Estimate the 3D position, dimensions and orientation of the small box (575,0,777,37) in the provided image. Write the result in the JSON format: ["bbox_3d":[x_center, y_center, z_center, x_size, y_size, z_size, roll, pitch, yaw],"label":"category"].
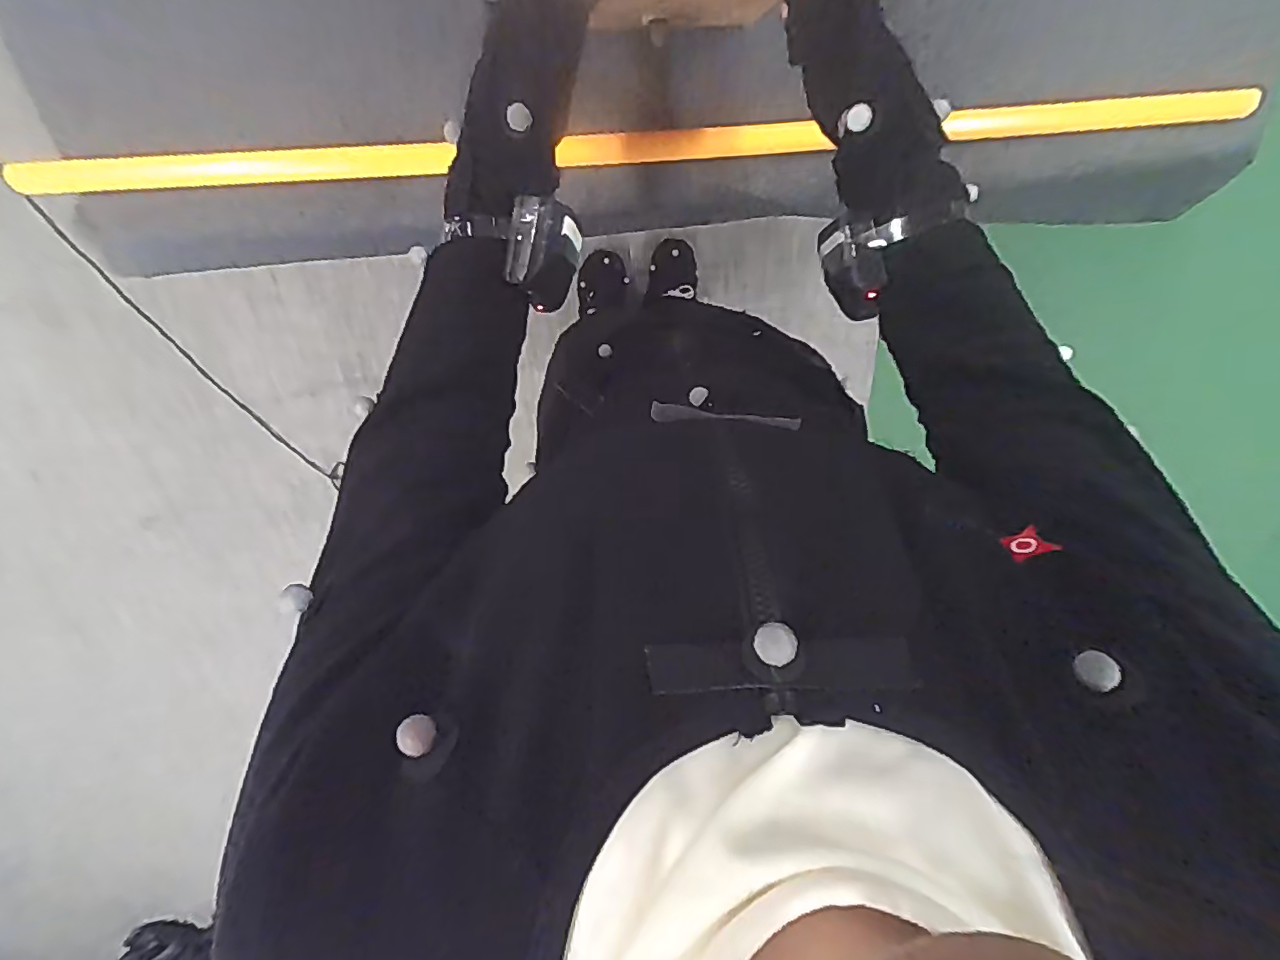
[{"bbox_3d":[0.027,-0.452,0.390,0.168,0.176,0.179,-6,120,-3],"label":"small box"}]
